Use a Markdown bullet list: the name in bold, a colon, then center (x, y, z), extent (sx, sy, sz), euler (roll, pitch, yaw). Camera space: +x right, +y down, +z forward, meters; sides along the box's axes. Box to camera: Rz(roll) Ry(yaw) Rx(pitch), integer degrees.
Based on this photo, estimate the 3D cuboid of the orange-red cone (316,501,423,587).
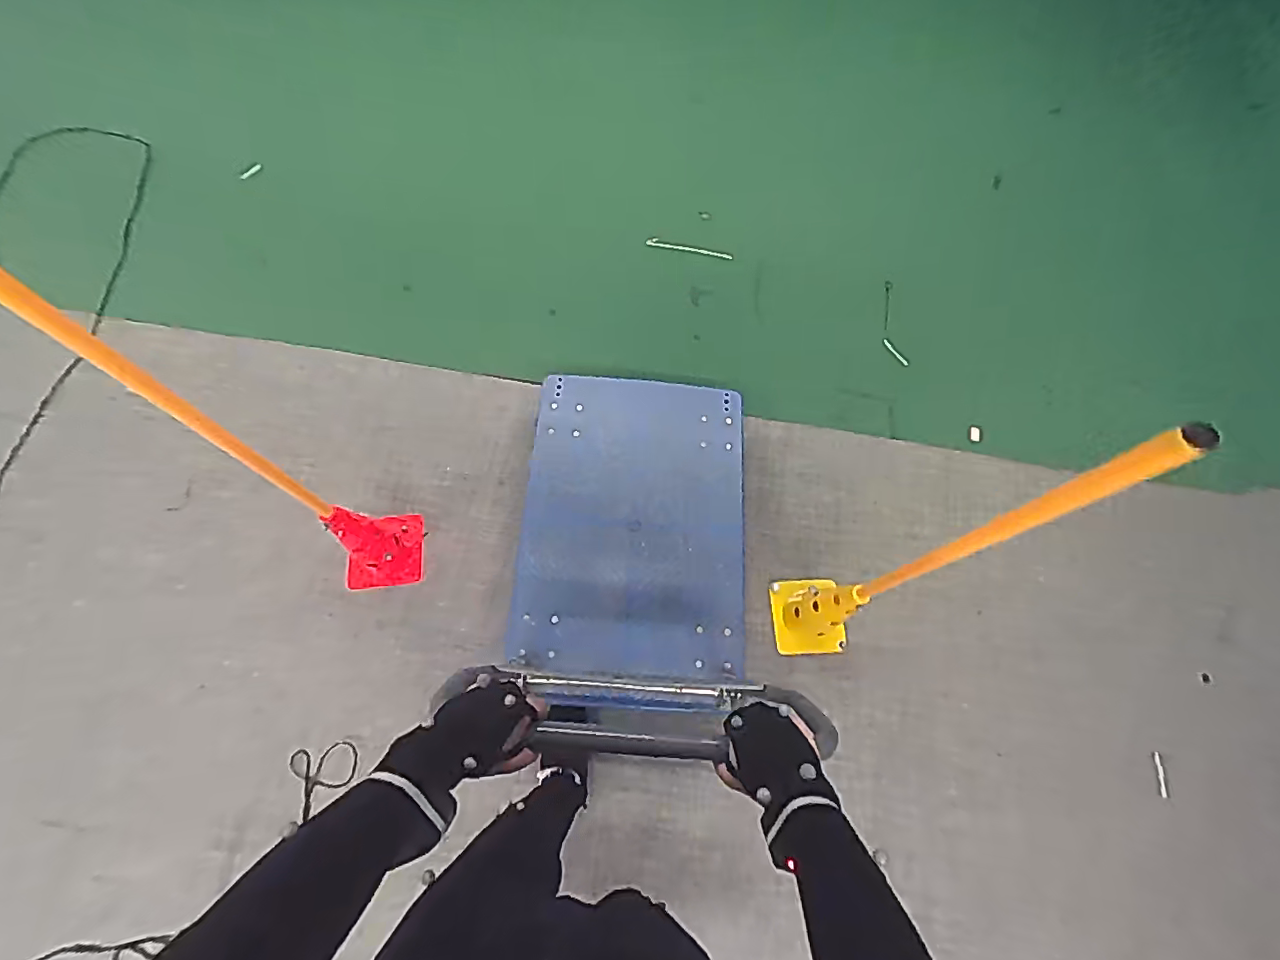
- **orange-red cone**: center (-0.692, 0.128, 1.327), extent (0.199, 0.360, 0.198), euler (-5, 69, -5)
